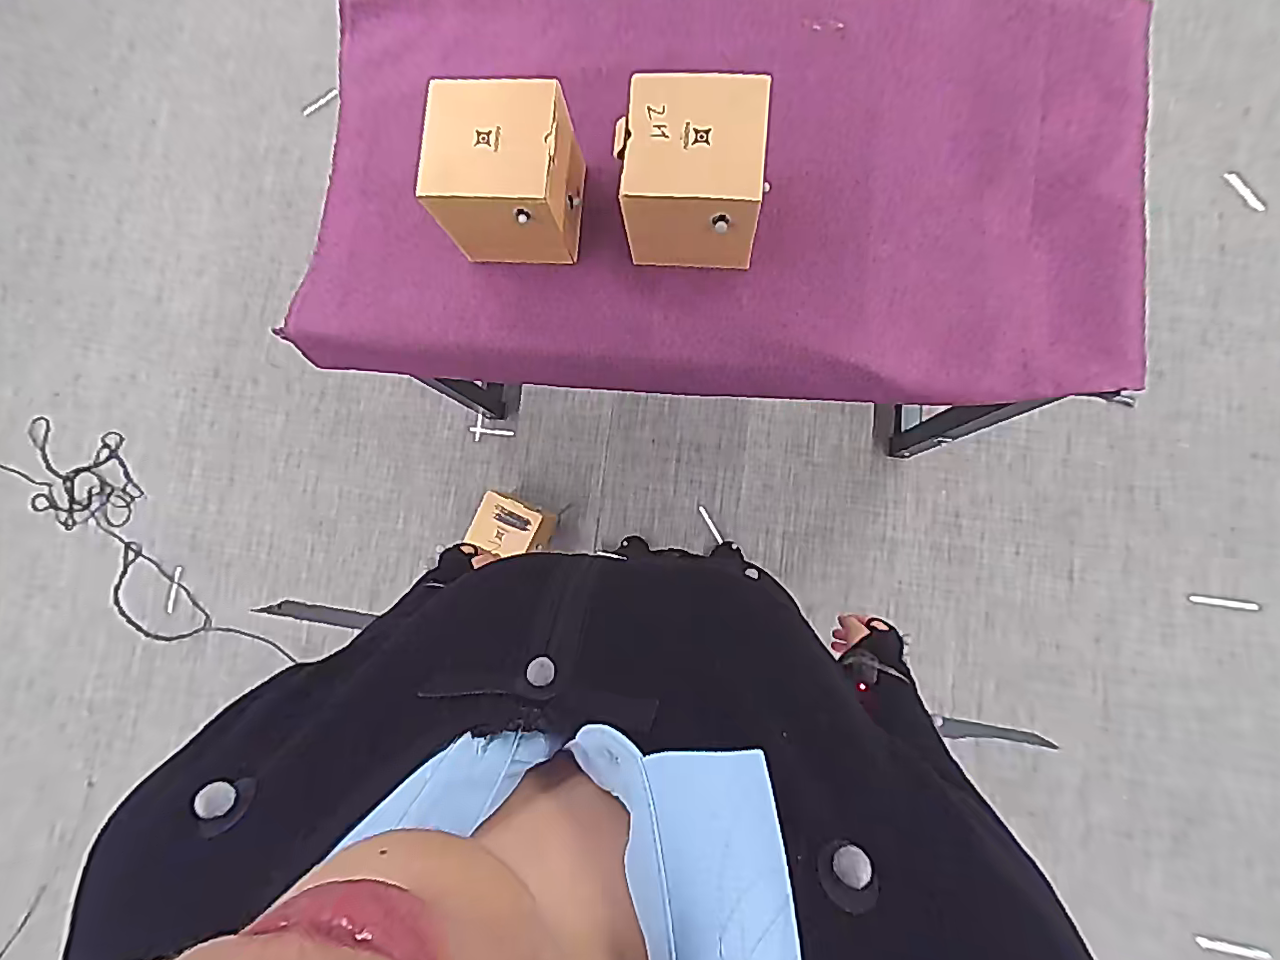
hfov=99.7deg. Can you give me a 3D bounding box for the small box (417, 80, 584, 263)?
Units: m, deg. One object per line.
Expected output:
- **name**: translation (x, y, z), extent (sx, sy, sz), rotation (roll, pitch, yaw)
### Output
- **small box**: translation (-0.187, -0.428, 0.772), extent (0.179, 0.176, 0.168), rotation (3, 84, 5)

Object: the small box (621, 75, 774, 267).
- **small box**: translation (0.078, -0.410, 0.742), extent (0.179, 0.176, 0.168), rotation (5, 84, 7)
